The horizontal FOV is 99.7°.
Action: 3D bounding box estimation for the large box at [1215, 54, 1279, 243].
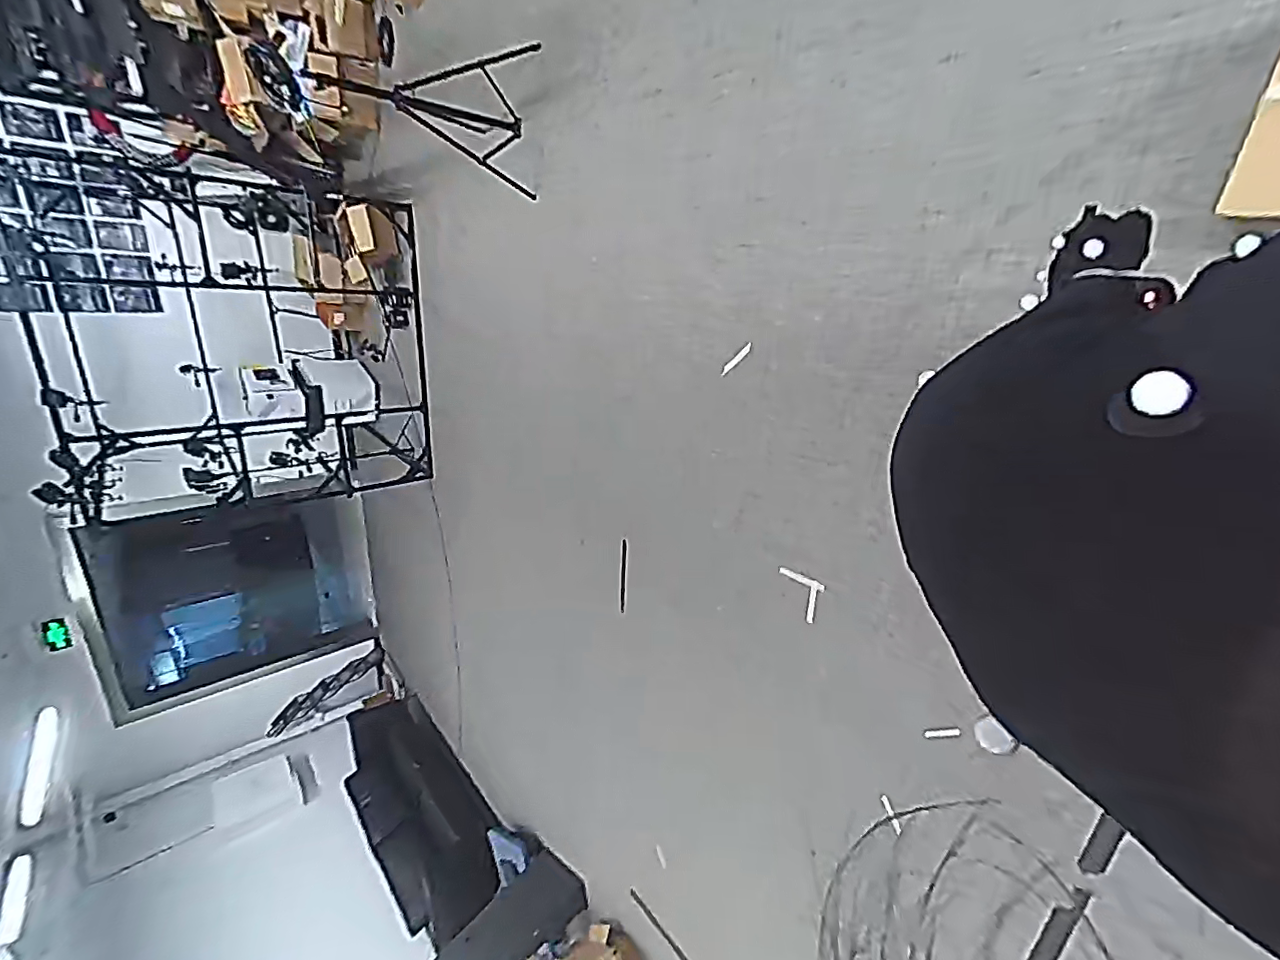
[{"bbox_3d":[1.108,-0.497,0.716,0.408,0.320,0.320,27,120,42],"label":"large box"}]
